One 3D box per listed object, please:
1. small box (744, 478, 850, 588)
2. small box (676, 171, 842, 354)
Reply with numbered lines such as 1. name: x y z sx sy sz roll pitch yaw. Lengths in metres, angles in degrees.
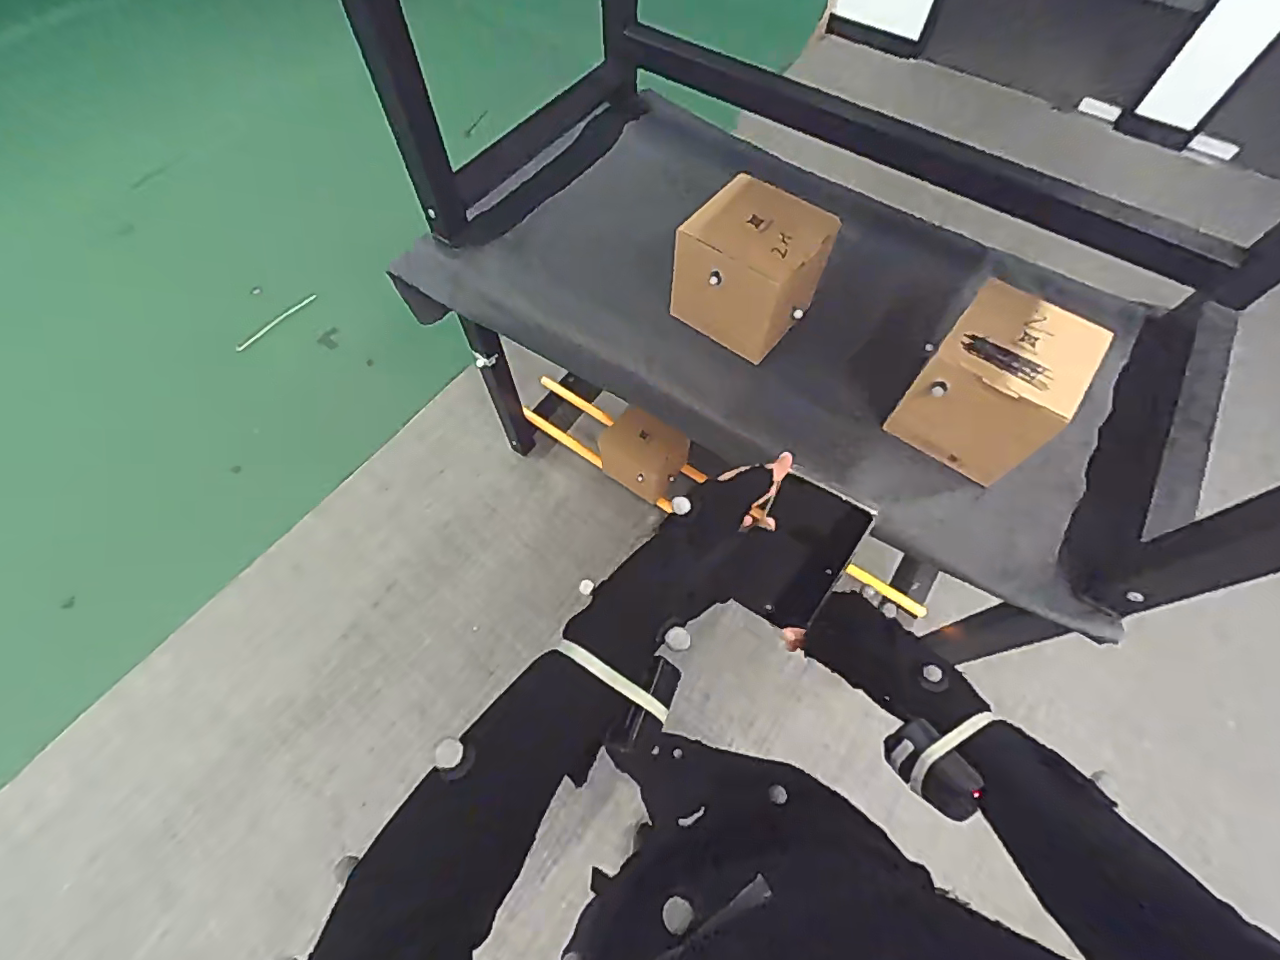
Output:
1. small box: 0.369 0.134 1.303 0.168 0.176 0.179 36 69 16
2. small box: 0.171 -0.330 0.837 0.179 0.176 0.168 35 68 15
